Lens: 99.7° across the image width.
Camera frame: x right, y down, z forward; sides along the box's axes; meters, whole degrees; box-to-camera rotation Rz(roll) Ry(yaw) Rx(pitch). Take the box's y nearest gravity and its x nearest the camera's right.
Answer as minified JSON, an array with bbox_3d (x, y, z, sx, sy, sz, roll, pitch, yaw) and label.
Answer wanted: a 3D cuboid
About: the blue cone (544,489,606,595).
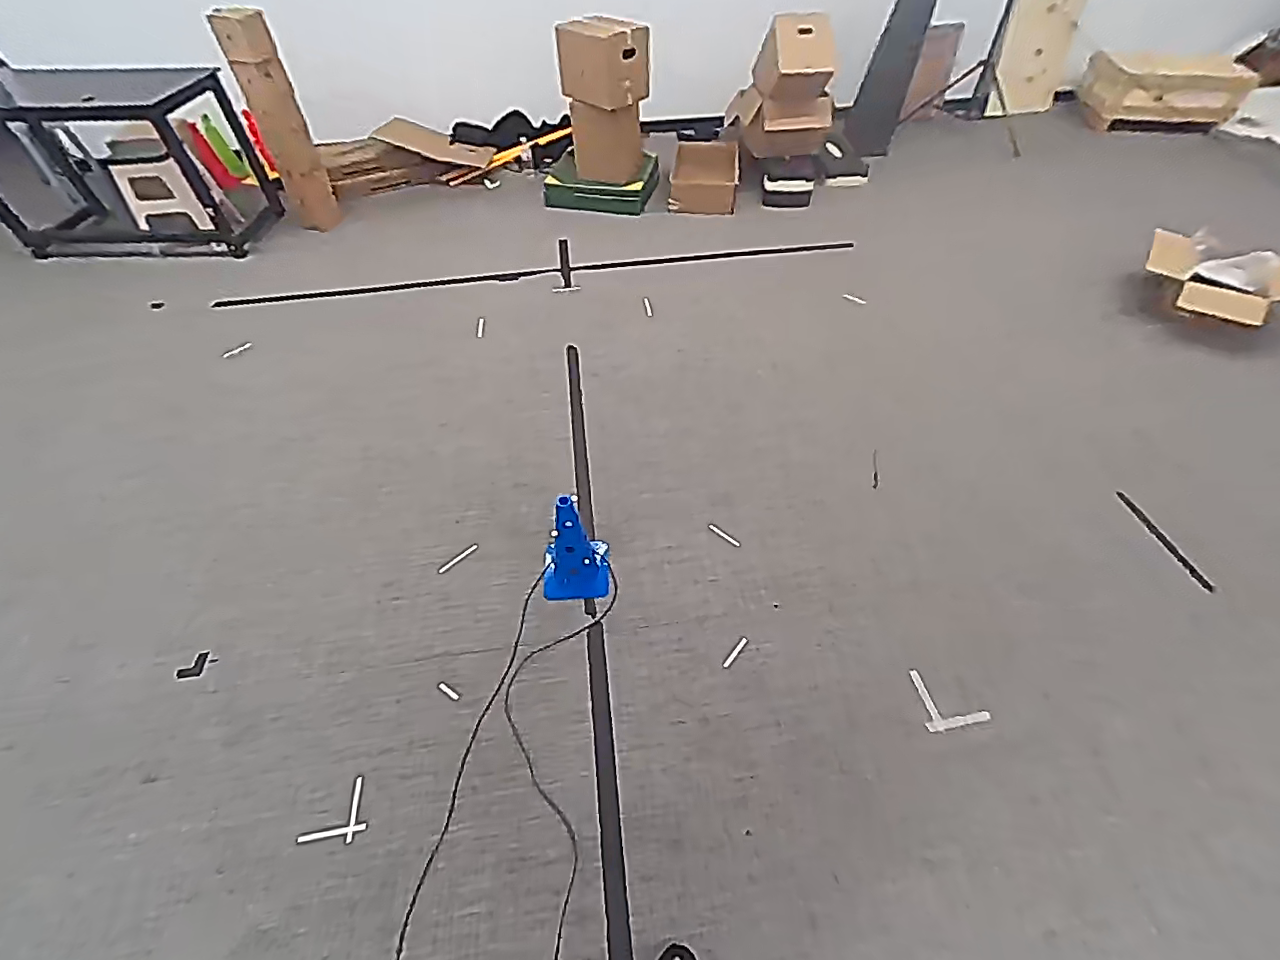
[{"bbox_3d":[-0.205,0.162,1.545,0.193,0.380,0.192,-4,51,-2],"label":"blue cone"}]
